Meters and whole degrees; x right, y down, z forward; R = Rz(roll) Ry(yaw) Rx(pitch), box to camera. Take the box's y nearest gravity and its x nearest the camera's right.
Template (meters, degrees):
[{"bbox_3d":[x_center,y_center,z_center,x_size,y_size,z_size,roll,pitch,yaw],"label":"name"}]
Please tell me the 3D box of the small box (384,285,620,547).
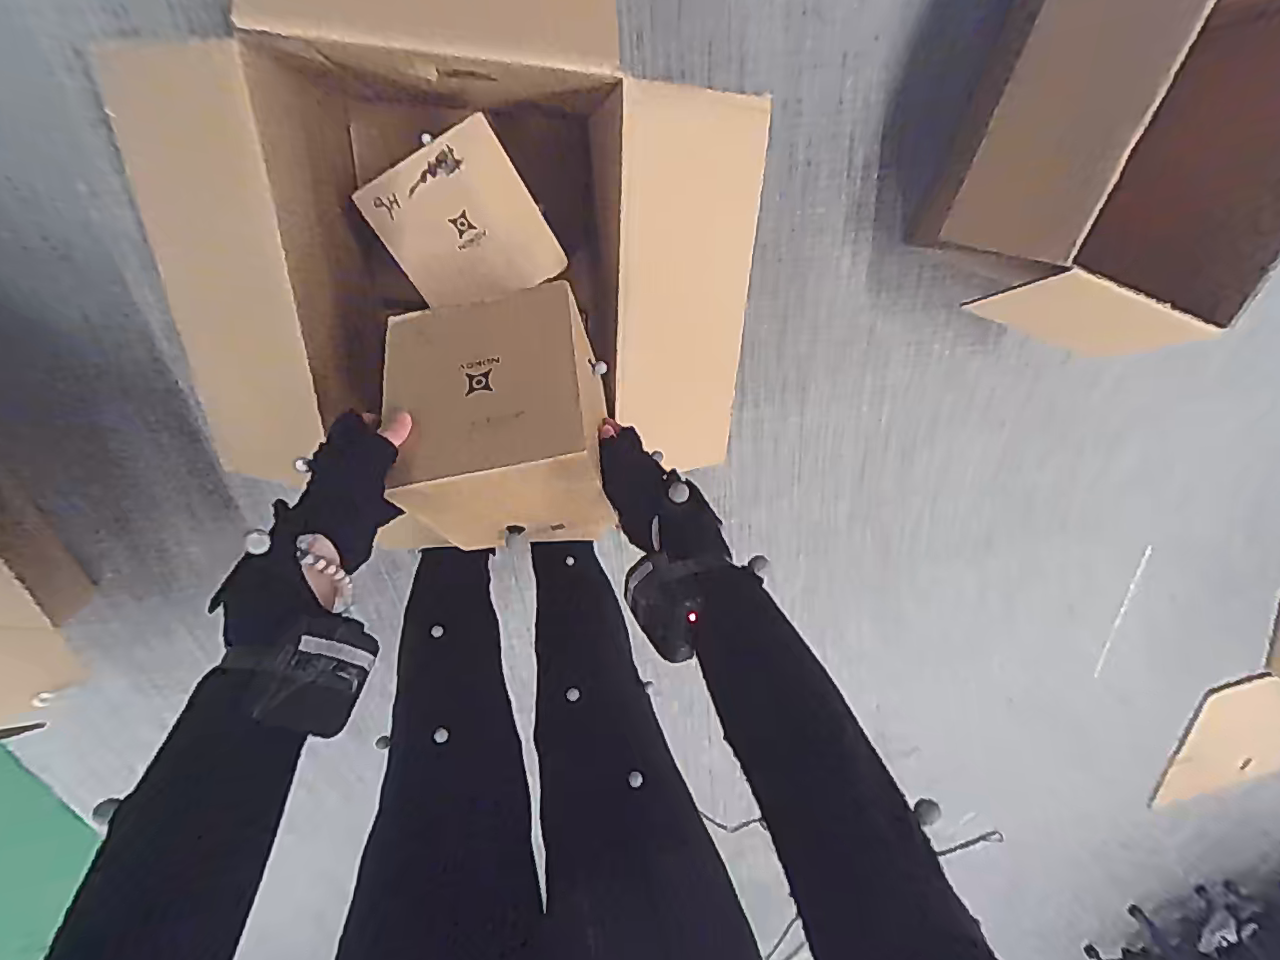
[{"bbox_3d":[-0.120,-0.051,0.523,0.168,0.179,0.176,-11,155,3],"label":"small box"}]
